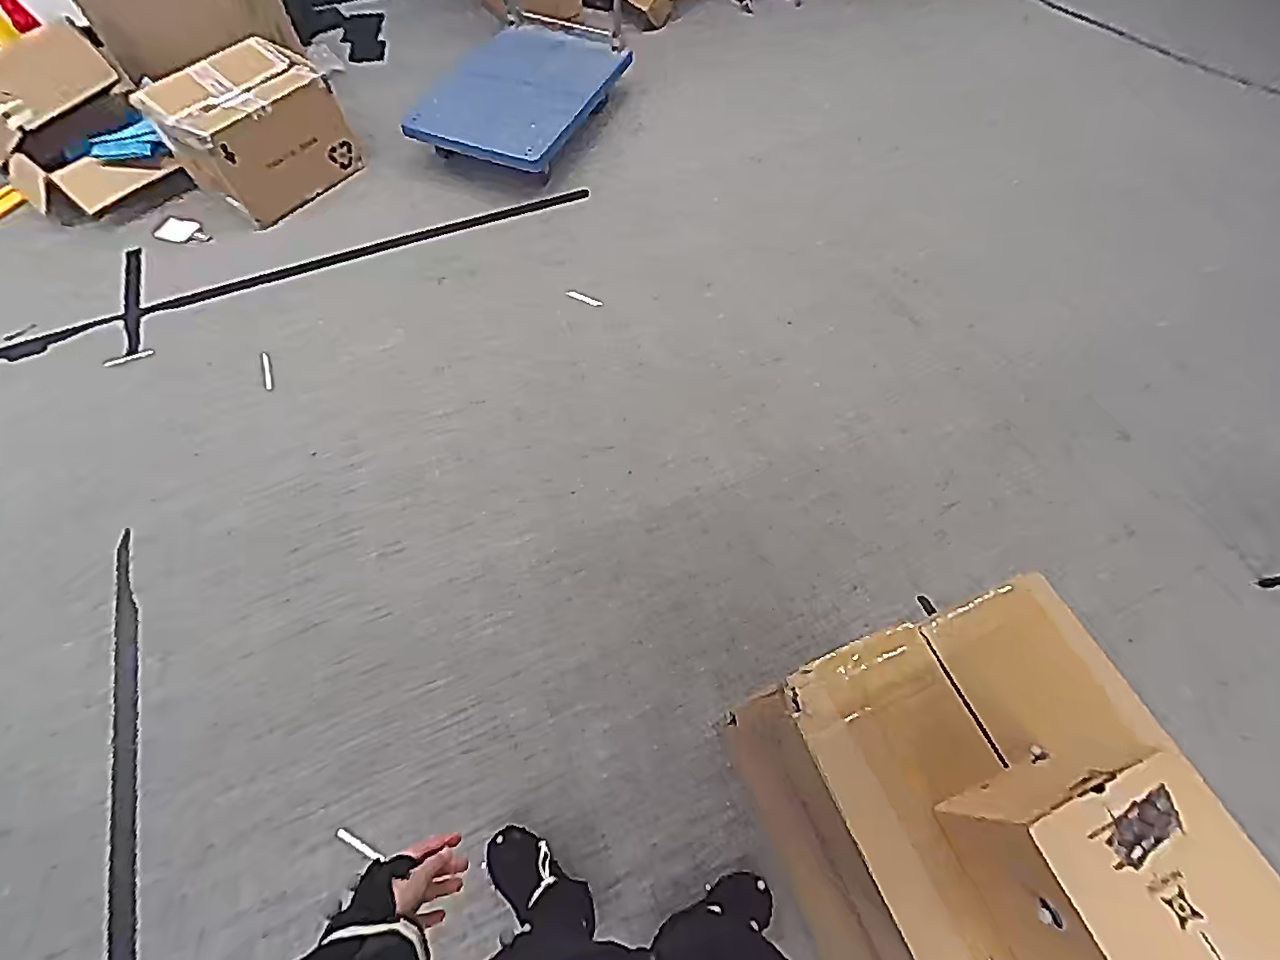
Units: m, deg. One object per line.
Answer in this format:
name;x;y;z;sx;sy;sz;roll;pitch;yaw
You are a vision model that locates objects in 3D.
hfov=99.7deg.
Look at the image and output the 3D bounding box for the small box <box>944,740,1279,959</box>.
small box;0.438;0.372;0.515;0.168;0.176;0.179;-20;65;-9
